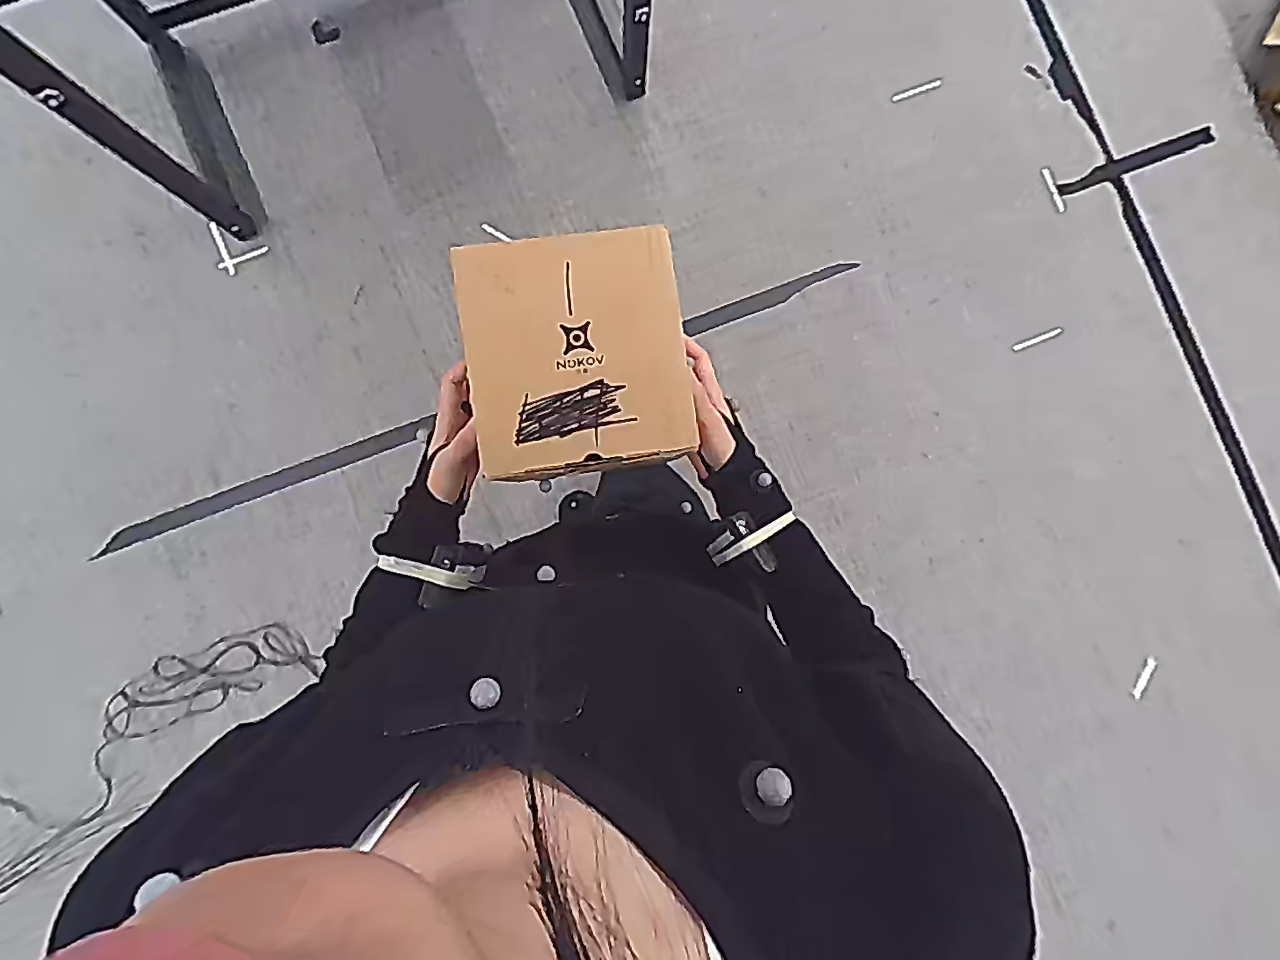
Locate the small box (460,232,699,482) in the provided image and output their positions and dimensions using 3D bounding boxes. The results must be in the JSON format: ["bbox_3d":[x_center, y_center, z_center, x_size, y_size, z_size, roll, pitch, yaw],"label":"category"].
[{"bbox_3d":[-0.050,-0.093,0.485,0.168,0.176,0.179,-8,89,-5],"label":"small box"}]

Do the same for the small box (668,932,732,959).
[{"bbox_3d":[0.170,1.325,1.381,0.179,0.176,0.168,-22,89,-4],"label":"small box"}]
